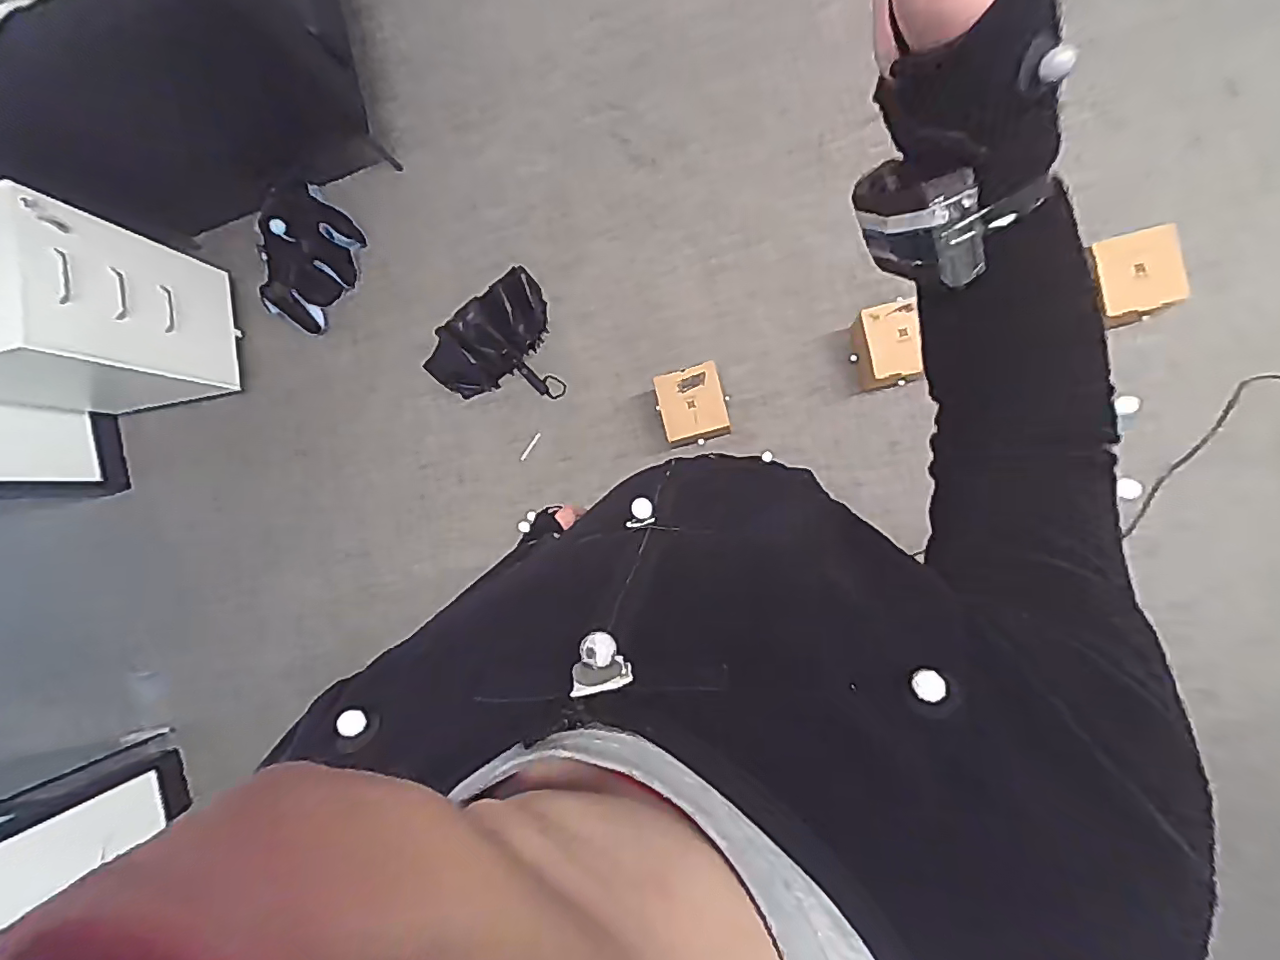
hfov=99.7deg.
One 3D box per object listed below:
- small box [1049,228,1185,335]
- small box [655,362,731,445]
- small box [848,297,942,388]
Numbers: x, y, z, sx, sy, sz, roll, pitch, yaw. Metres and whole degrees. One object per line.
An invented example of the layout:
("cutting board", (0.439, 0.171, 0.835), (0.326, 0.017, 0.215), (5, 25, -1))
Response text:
("small box", (1.121, -0.459, 1.285), (0.168, 0.176, 0.179), (-12, 86, 11))
("small box", (0.149, -0.202, 1.480), (0.168, 0.176, 0.179), (-14, 88, 11))
("small box", (0.644, -0.339, 1.382), (0.168, 0.176, 0.179), (-11, 88, 11))
